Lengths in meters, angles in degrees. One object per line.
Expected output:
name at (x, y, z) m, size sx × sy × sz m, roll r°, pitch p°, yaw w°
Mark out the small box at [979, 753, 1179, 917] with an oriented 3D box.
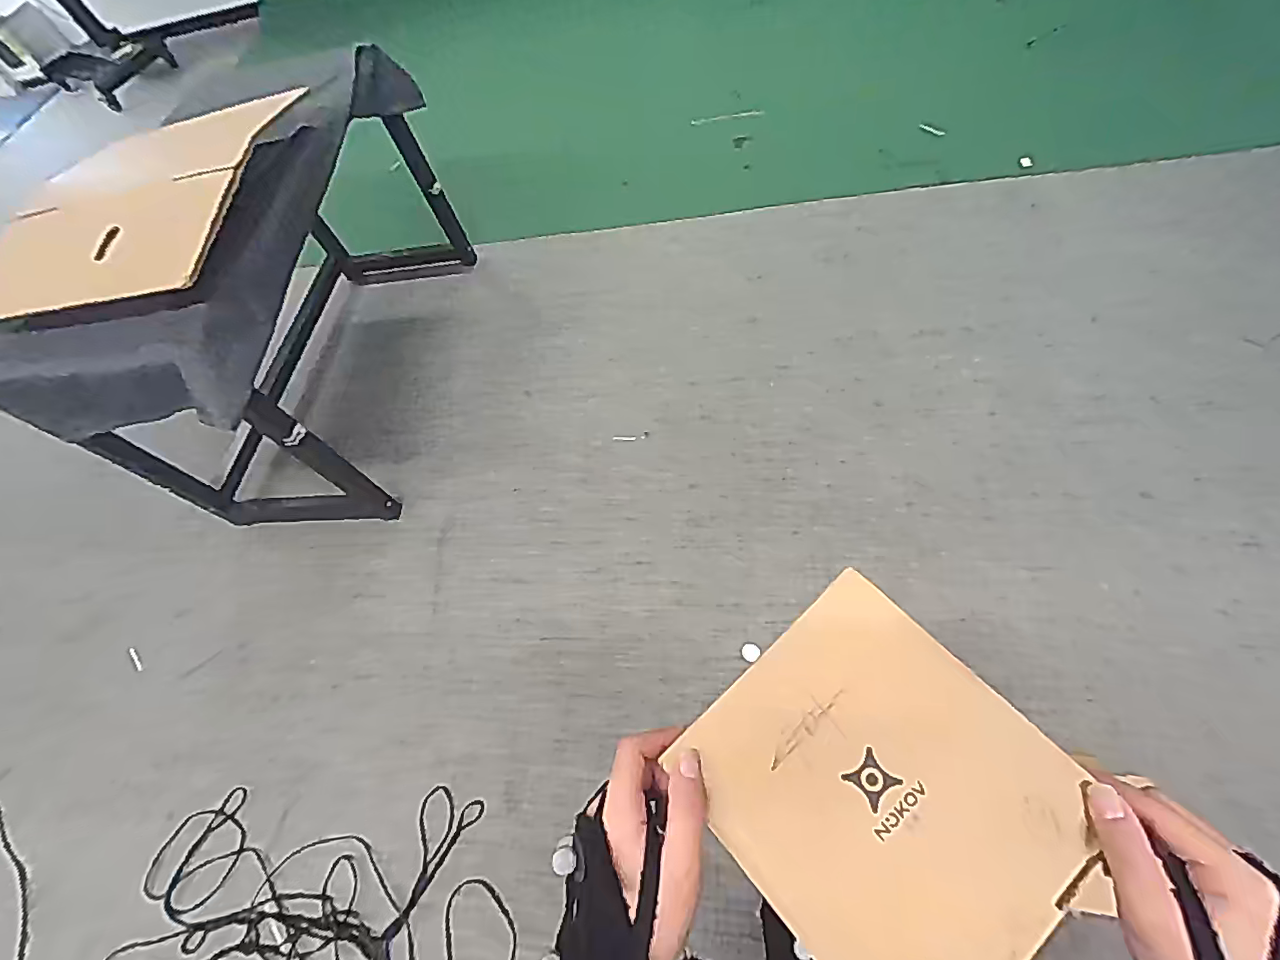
small box at (0.647, 0.527, 0.825) m, size 0.168 × 0.176 × 0.179 m, roll 1°, pitch 61°, yaw 12°
